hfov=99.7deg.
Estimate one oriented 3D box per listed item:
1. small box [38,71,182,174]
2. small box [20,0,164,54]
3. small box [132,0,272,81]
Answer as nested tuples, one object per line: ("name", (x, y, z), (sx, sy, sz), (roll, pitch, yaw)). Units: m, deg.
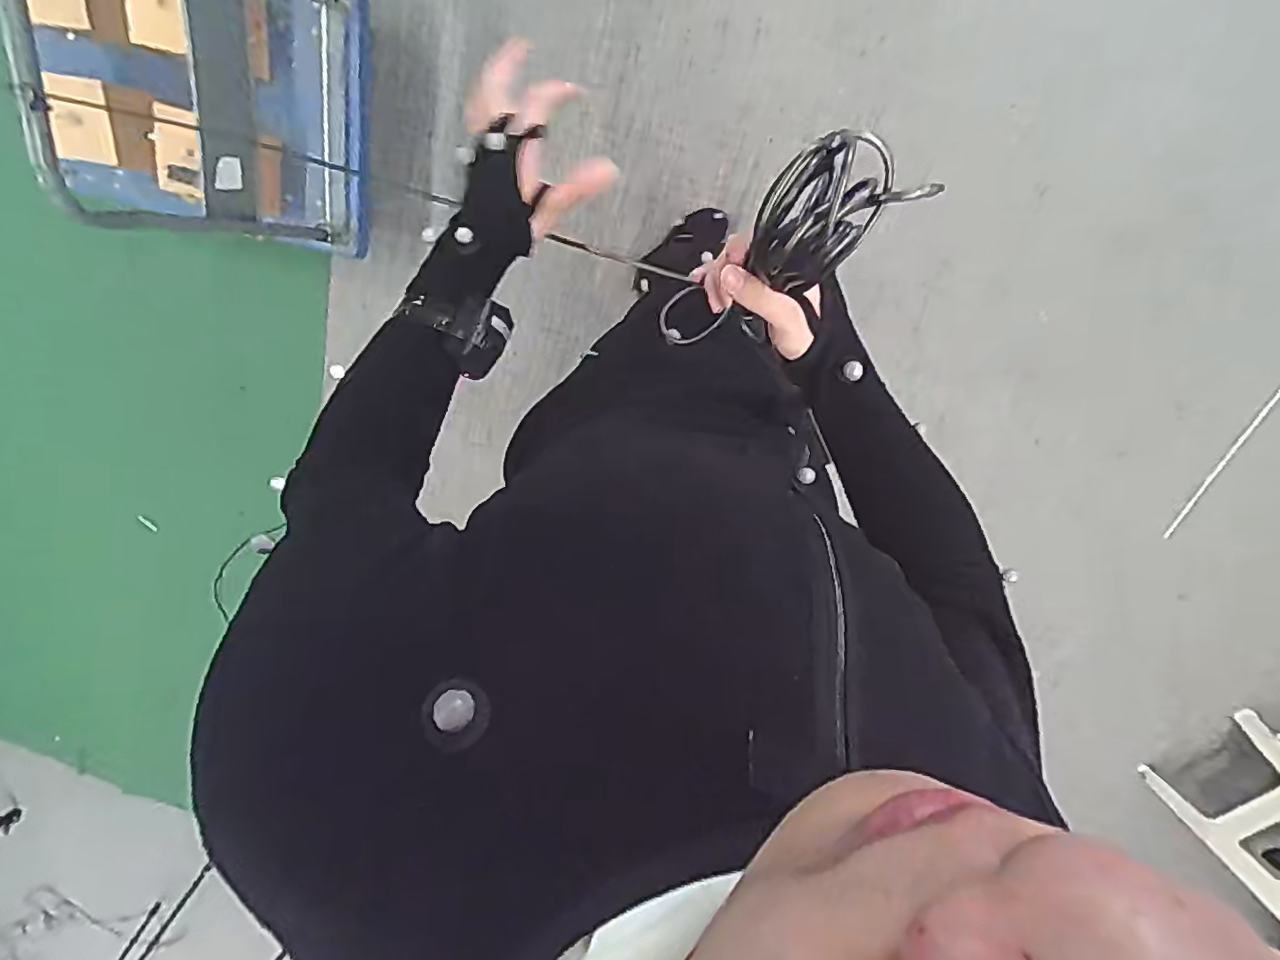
("small box", (-1.236, -0.837, 1.282), (0.179, 0.176, 0.168), (11, 112, 5))
("small box", (-1.200, -1.066, 1.183), (0.179, 0.176, 0.168), (11, 114, 5))
("small box", (-0.940, -0.997, 1.167), (0.179, 0.176, 0.168), (16, 113, 3))
